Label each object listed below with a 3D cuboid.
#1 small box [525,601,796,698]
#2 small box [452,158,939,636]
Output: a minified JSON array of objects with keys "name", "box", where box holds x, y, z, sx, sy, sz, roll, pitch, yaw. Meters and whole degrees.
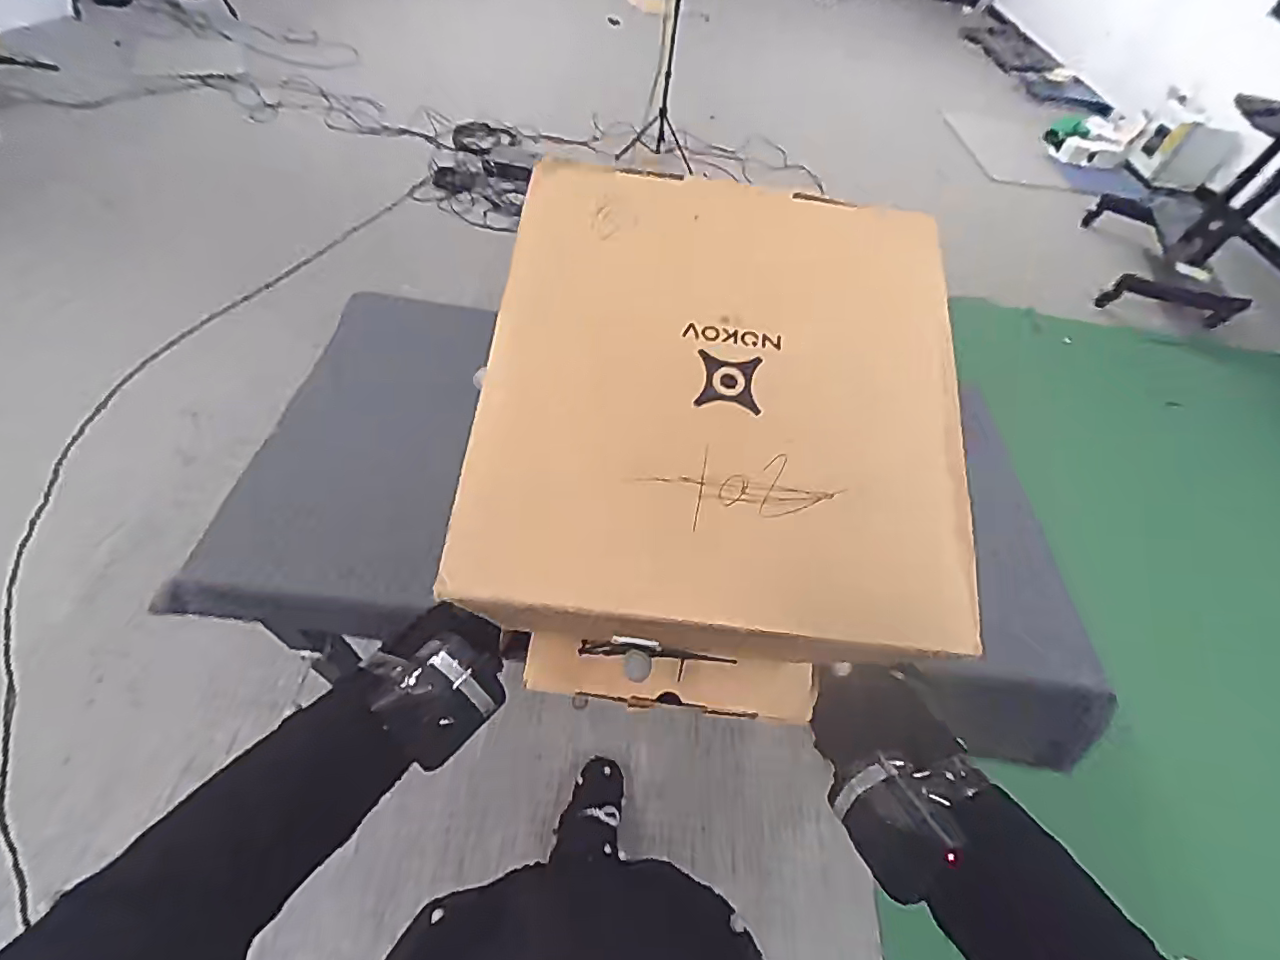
[{"name":"small box","box":[0.014,0.065,0.422,0.168,0.176,0.179,5,71,-3]},{"name":"small box","box":[0.021,-0.020,0.280,0.168,0.176,0.179,6,71,-2]}]
